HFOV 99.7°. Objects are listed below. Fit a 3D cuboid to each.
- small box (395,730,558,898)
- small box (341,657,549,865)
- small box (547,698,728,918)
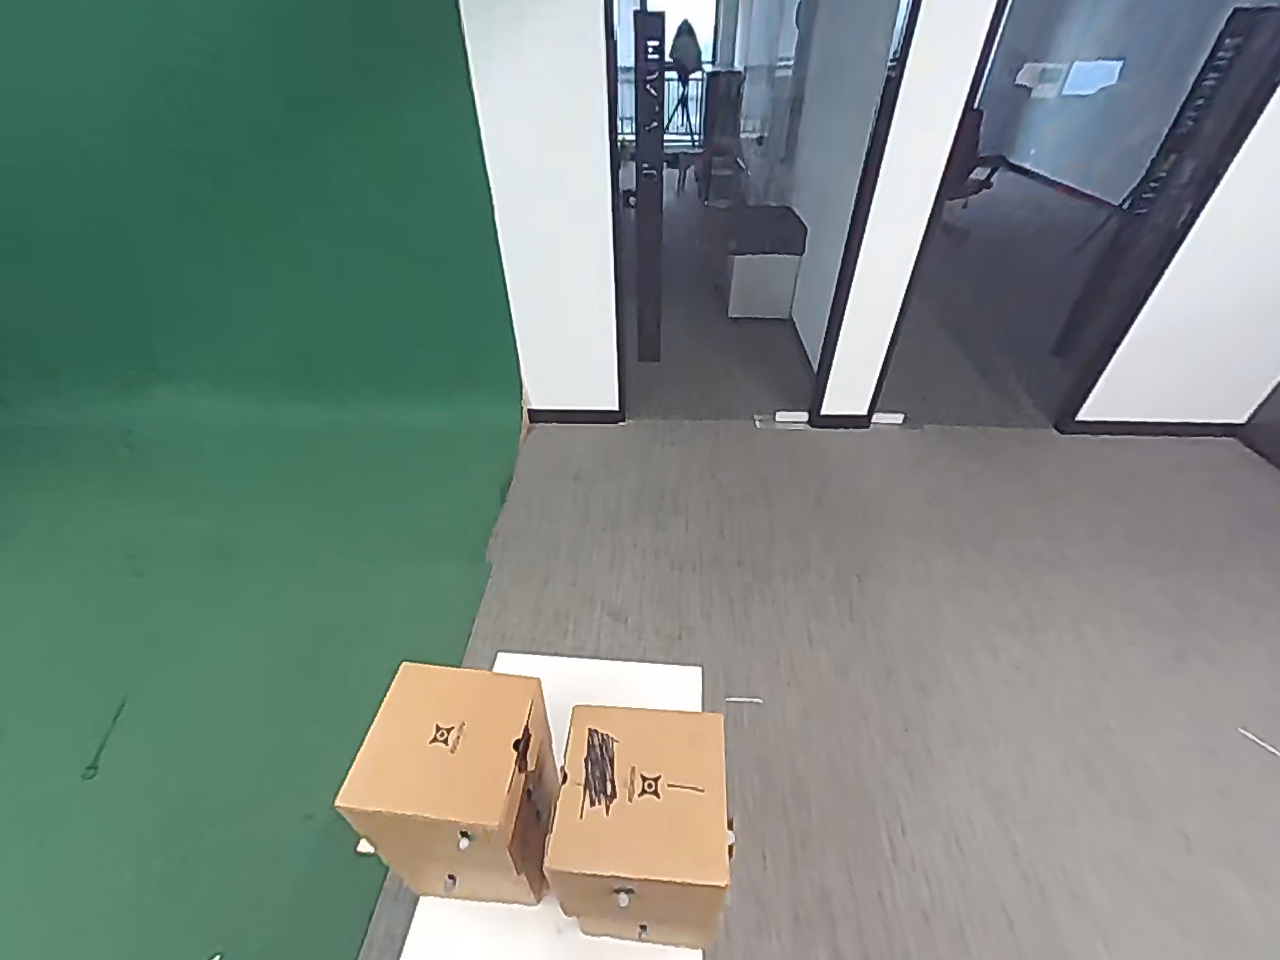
[{"bbox_3d":[-0.220,0.467,0.767,0.179,0.176,0.168,4,40,2],"label":"small box"},{"bbox_3d":[-0.217,0.342,0.660,0.179,0.176,0.168,6,39,3],"label":"small box"},{"bbox_3d":[0.005,0.374,0.620,0.179,0.176,0.168,3,39,4],"label":"small box"}]
